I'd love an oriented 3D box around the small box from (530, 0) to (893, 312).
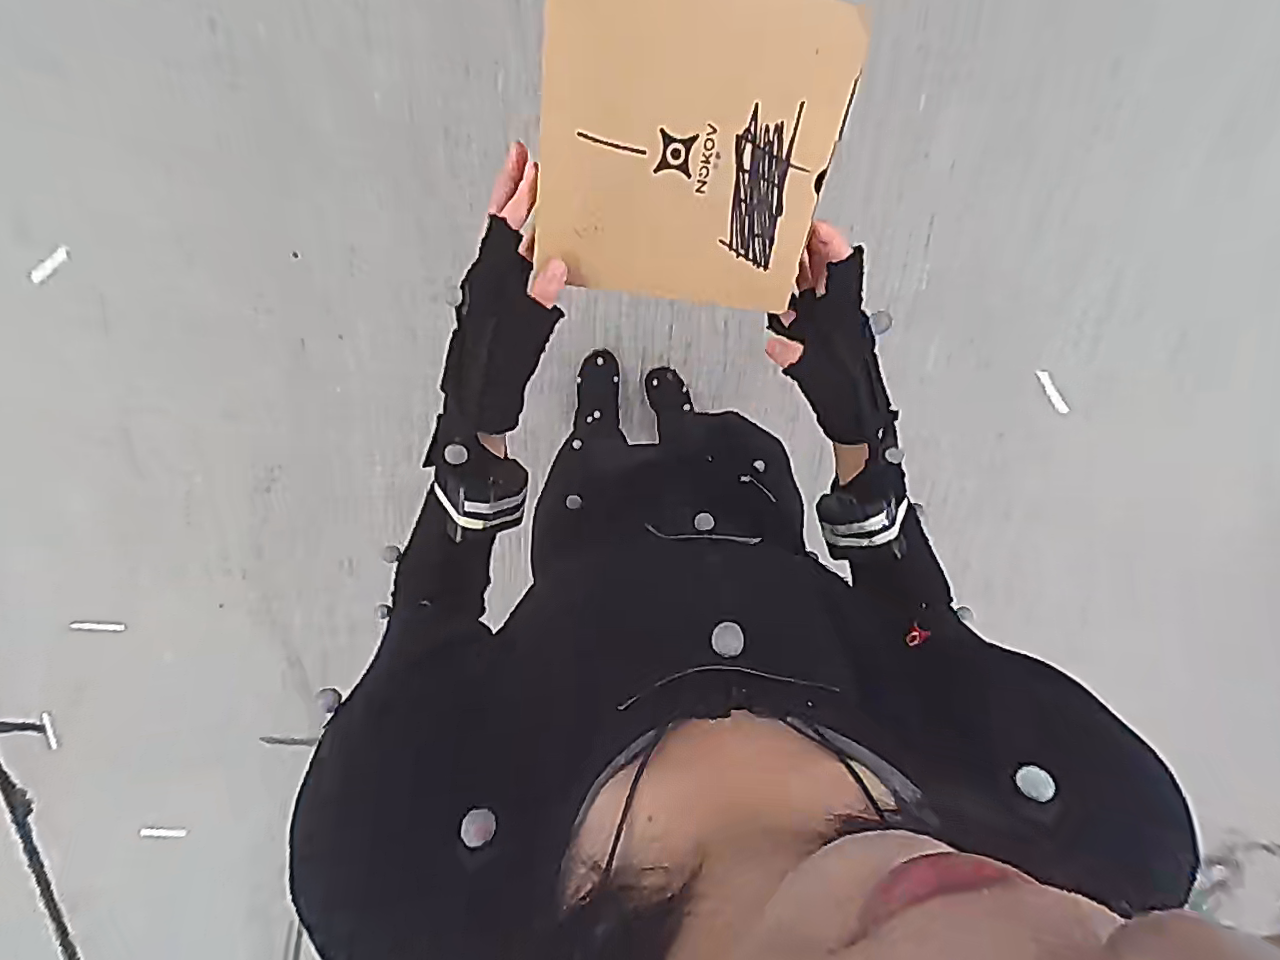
[{"bbox_3d":[0.024,-0.232,0.367,0.179,0.176,0.168,5,125,-9],"label":"small box"}]
